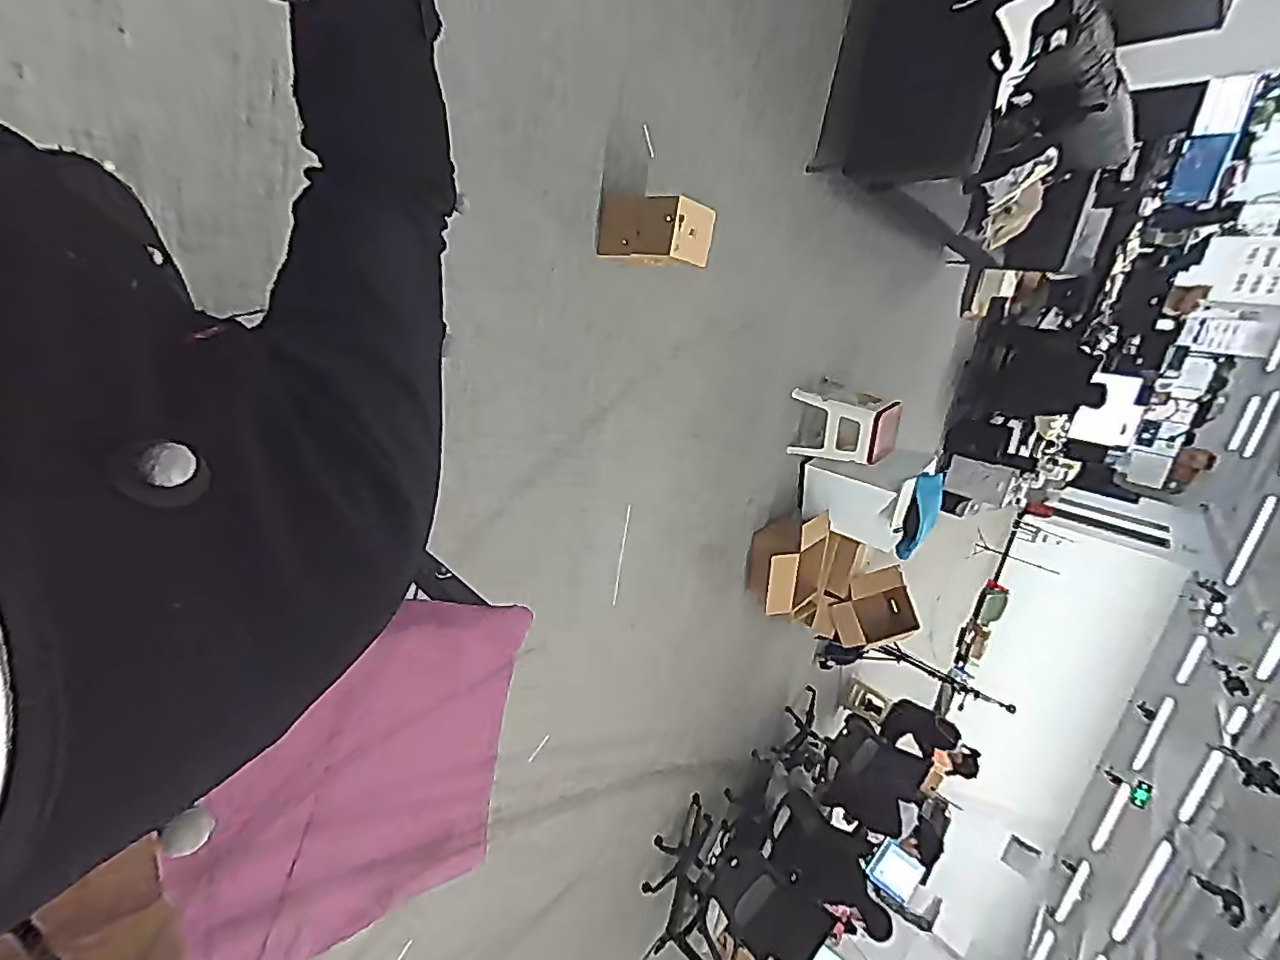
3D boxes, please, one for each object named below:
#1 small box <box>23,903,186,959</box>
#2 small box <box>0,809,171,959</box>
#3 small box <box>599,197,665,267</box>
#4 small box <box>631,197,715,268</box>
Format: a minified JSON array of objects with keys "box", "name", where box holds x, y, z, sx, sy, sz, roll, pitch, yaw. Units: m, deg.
[{"box":[-0.519,0.553,0.490,0.168,0.176,0.179,-1,108,-48],"name":"small box"},{"box":[-0.640,0.518,0.596,0.168,0.176,0.179,1,106,-48],"name":"small box"},{"box":[-0.015,-0.809,1.771,0.168,0.176,0.179,-6,112,-46],"name":"small box"},{"box":[0.099,-0.760,1.663,0.179,0.176,0.168,-6,112,-46],"name":"small box"}]
